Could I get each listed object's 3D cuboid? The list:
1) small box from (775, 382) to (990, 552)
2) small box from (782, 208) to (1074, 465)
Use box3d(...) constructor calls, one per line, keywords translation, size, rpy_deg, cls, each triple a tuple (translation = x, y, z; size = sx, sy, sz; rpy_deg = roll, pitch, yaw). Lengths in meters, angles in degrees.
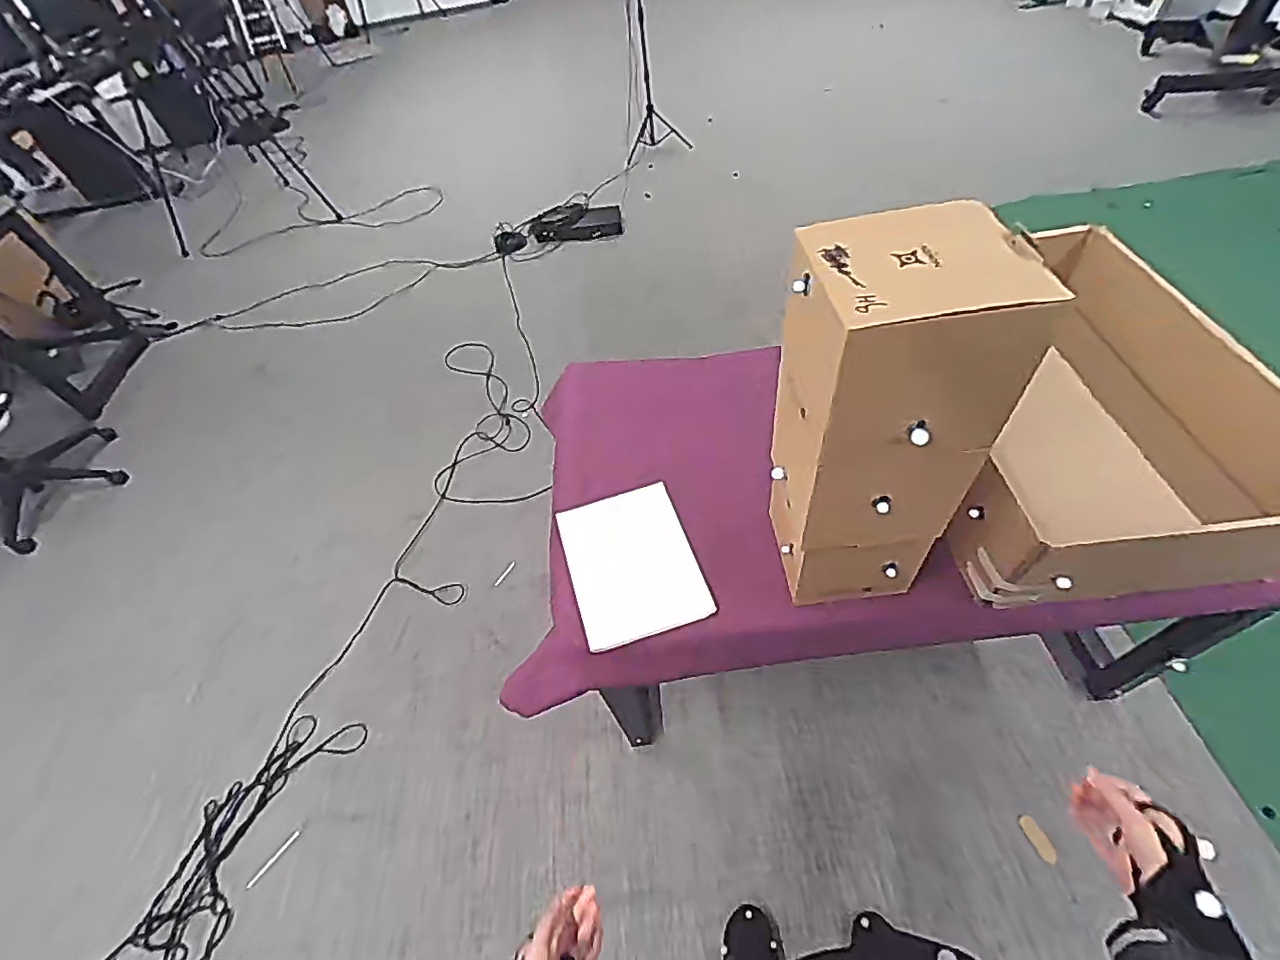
box3d(translation=(0.269, -0.030, 0.650), size=(0.179, 0.176, 0.168), rpy_deg=(-7, 50, 5), cls="small box")
box3d(translation=(0.248, -0.133, 0.522), size=(0.179, 0.176, 0.168), rpy_deg=(-6, 50, 3), cls="small box")
